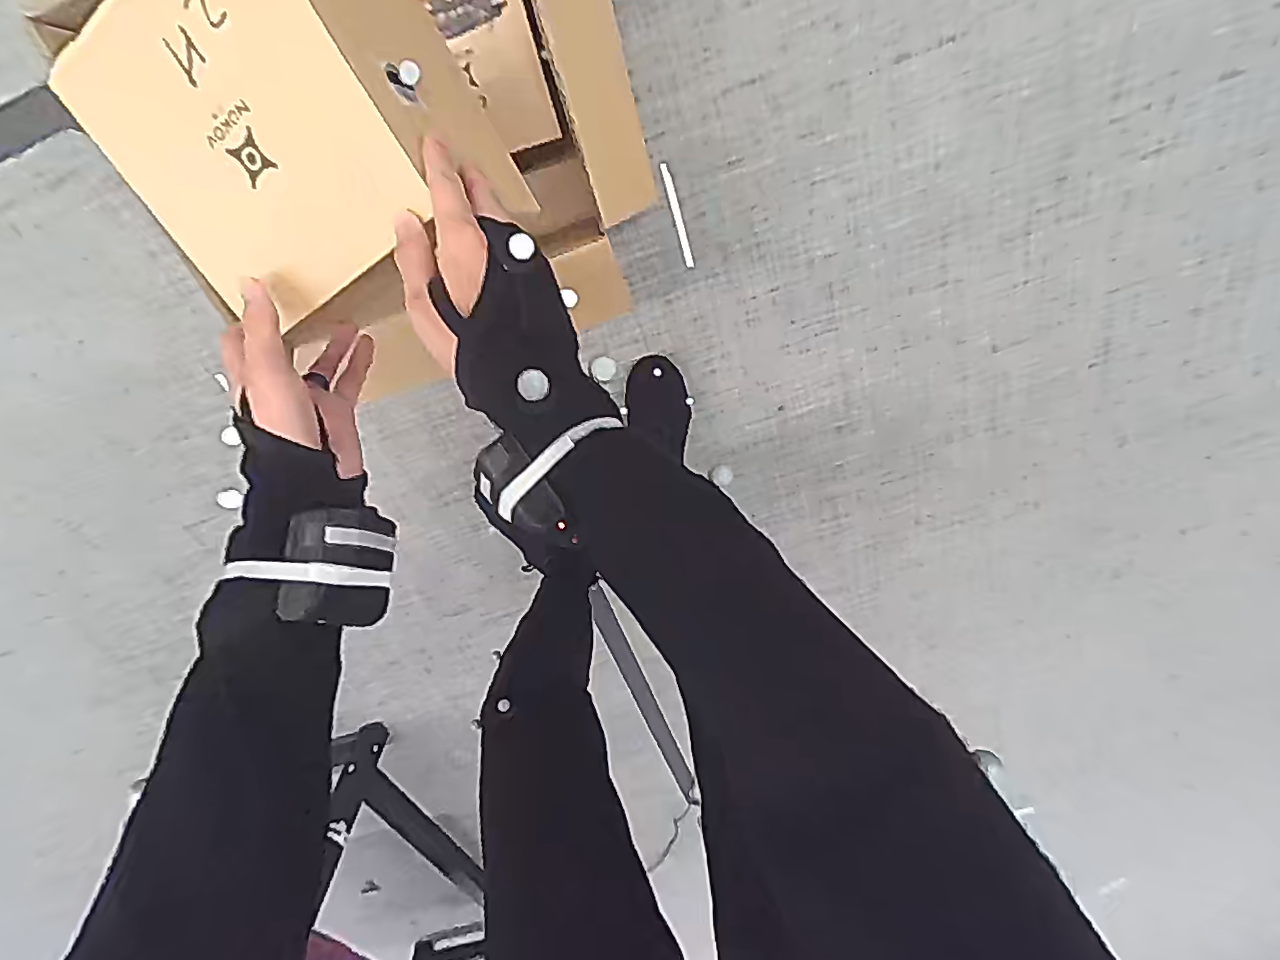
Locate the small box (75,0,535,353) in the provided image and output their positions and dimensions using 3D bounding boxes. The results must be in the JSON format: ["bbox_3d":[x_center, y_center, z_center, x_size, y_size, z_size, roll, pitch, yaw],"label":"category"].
[{"bbox_3d":[-0.202,-0.219,0.380,0.168,0.176,0.179,-24,109,20],"label":"small box"}]
